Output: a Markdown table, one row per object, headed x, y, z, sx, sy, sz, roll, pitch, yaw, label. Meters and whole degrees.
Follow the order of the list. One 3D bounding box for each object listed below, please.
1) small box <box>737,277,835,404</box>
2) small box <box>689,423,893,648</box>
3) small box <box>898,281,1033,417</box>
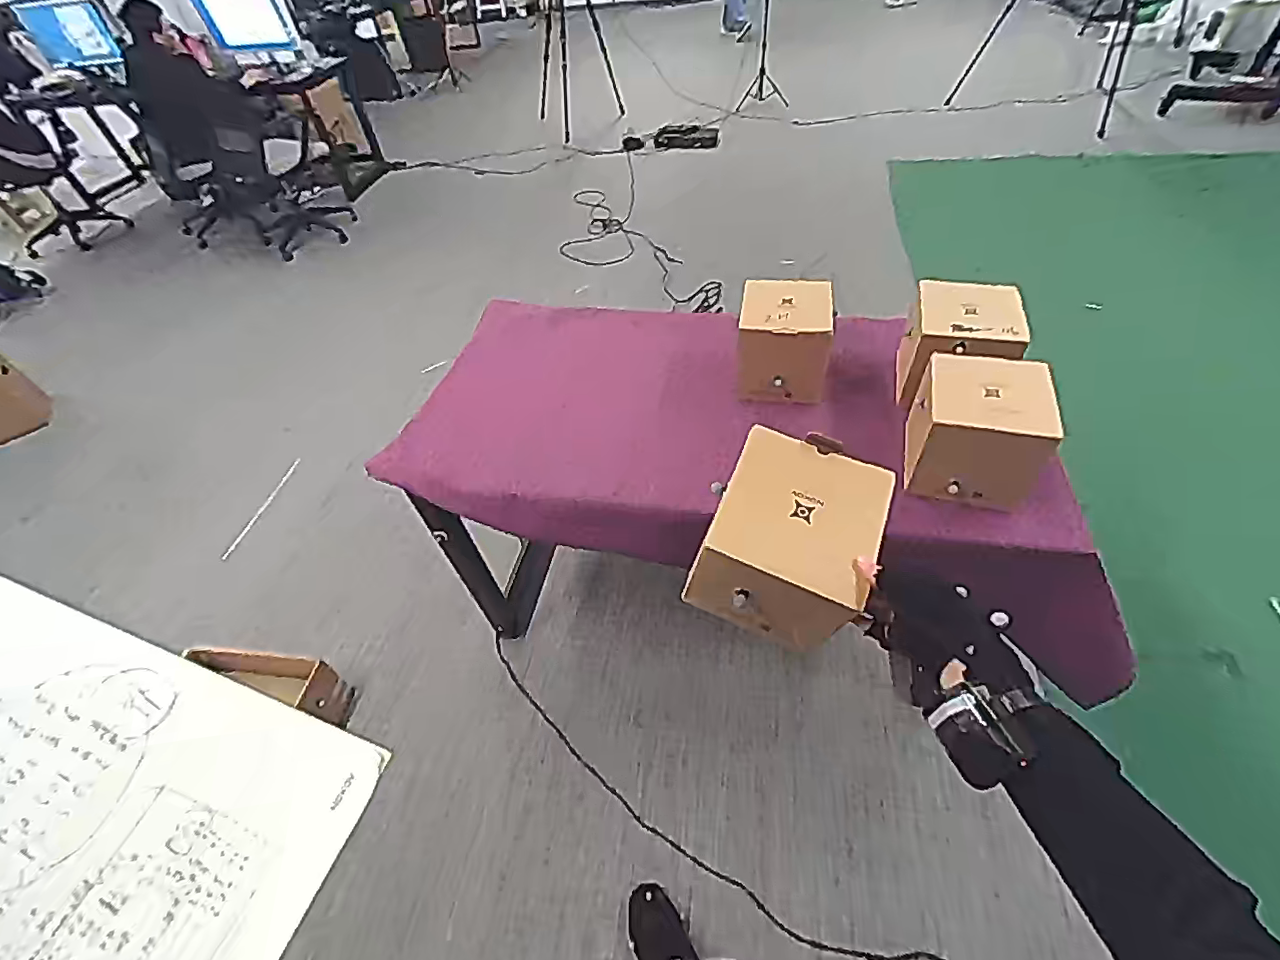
| x | y | z | sx | sy | sz | roll | pitch | yaw | label |
| --- | --- | --- | --- | --- | --- | --- | --- | --- | --- |
| 0.283 | -0.275 | 1.064 | 0.168 | 0.176 | 0.179 | 6 | 51 | 12 | small box |
| 0.166 | 0.072 | 0.637 | 0.168 | 0.176 | 0.179 | 23 | 58 | 9 | small box |
| 0.588 | -0.243 | 1.003 | 0.168 | 0.176 | 0.179 | 10 | 50 | 15 | small box |
